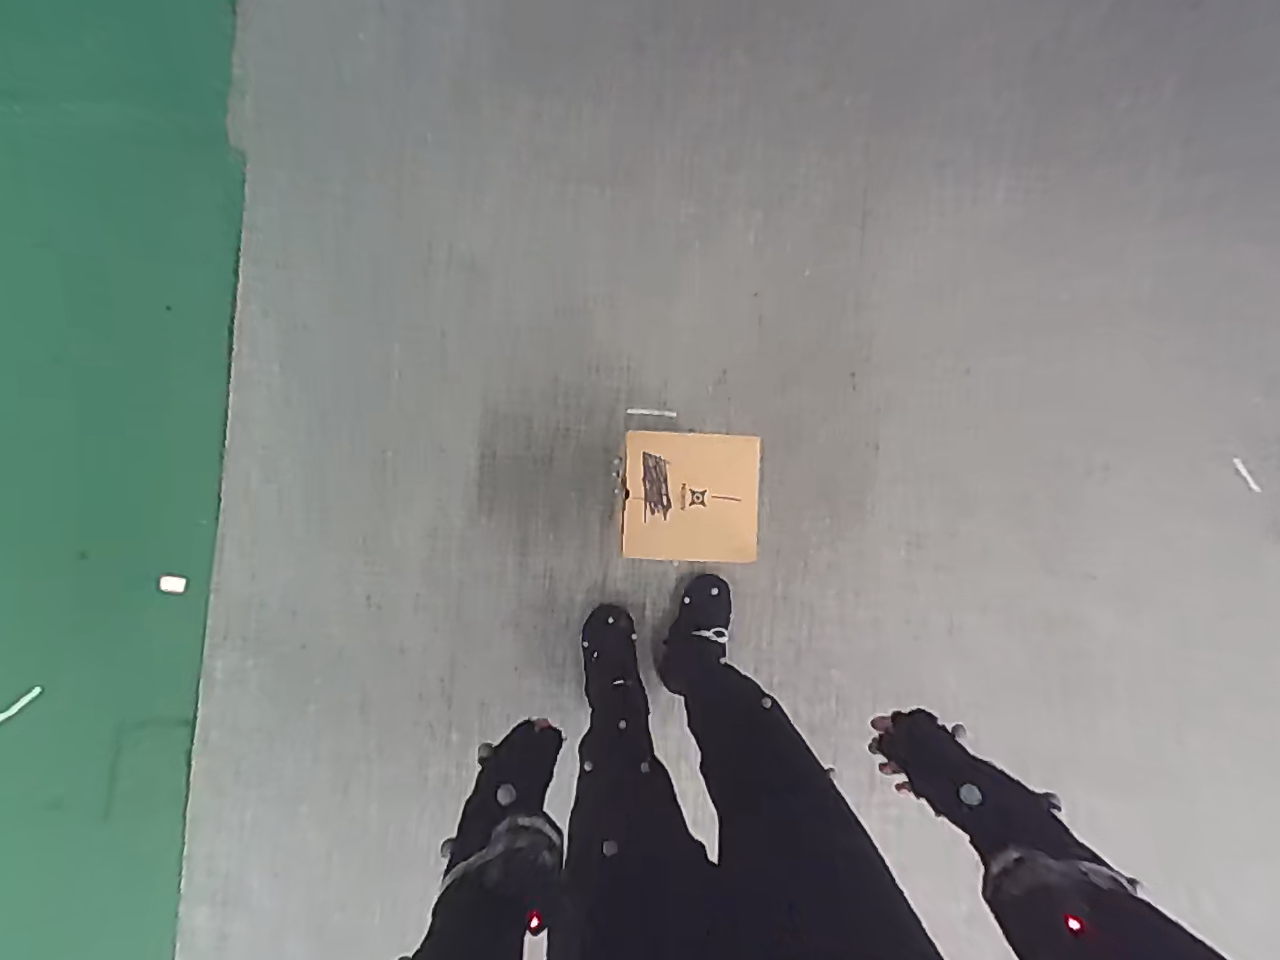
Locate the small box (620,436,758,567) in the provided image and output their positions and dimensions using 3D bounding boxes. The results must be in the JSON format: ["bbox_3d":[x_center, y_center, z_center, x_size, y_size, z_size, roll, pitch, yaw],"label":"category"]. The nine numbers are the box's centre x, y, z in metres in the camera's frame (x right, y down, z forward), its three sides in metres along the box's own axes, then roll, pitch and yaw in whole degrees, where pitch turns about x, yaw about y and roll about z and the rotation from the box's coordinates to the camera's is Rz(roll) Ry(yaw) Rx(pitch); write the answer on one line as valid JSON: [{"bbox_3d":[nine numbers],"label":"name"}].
[{"bbox_3d":[0.062,0.031,0.788,0.179,0.176,0.168,3,89,-2],"label":"small box"}]
